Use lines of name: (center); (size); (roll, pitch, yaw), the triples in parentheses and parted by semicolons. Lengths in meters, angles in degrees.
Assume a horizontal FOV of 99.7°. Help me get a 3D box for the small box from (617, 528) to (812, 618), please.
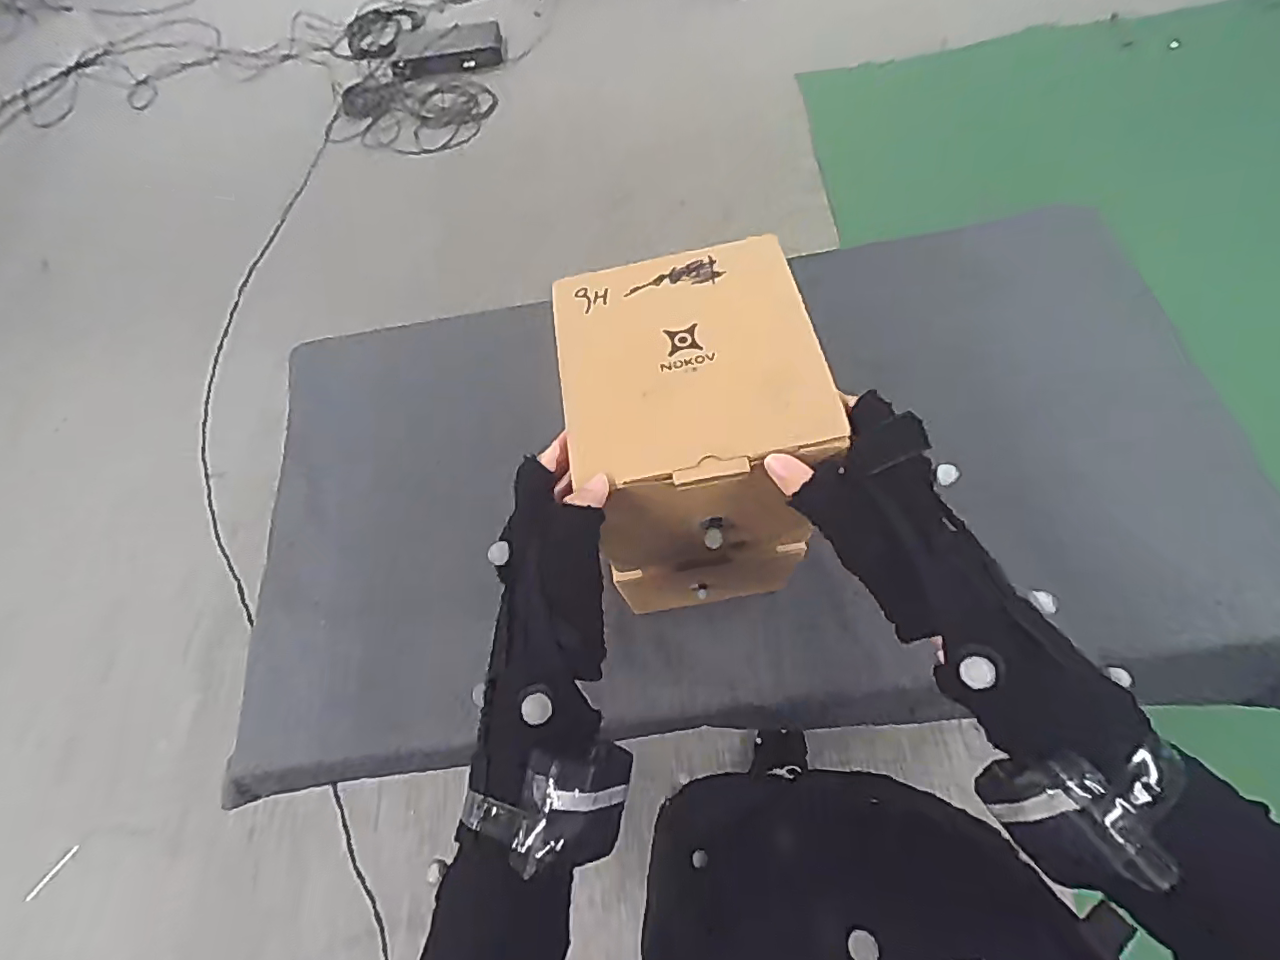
small box: (0.060, 0.041, 0.582); (0.179, 0.176, 0.168); (-13, 66, 0)

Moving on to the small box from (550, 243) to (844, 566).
small box: (0.037, -0.041, 0.418); (0.168, 0.176, 0.179); (-11, 64, 3)
